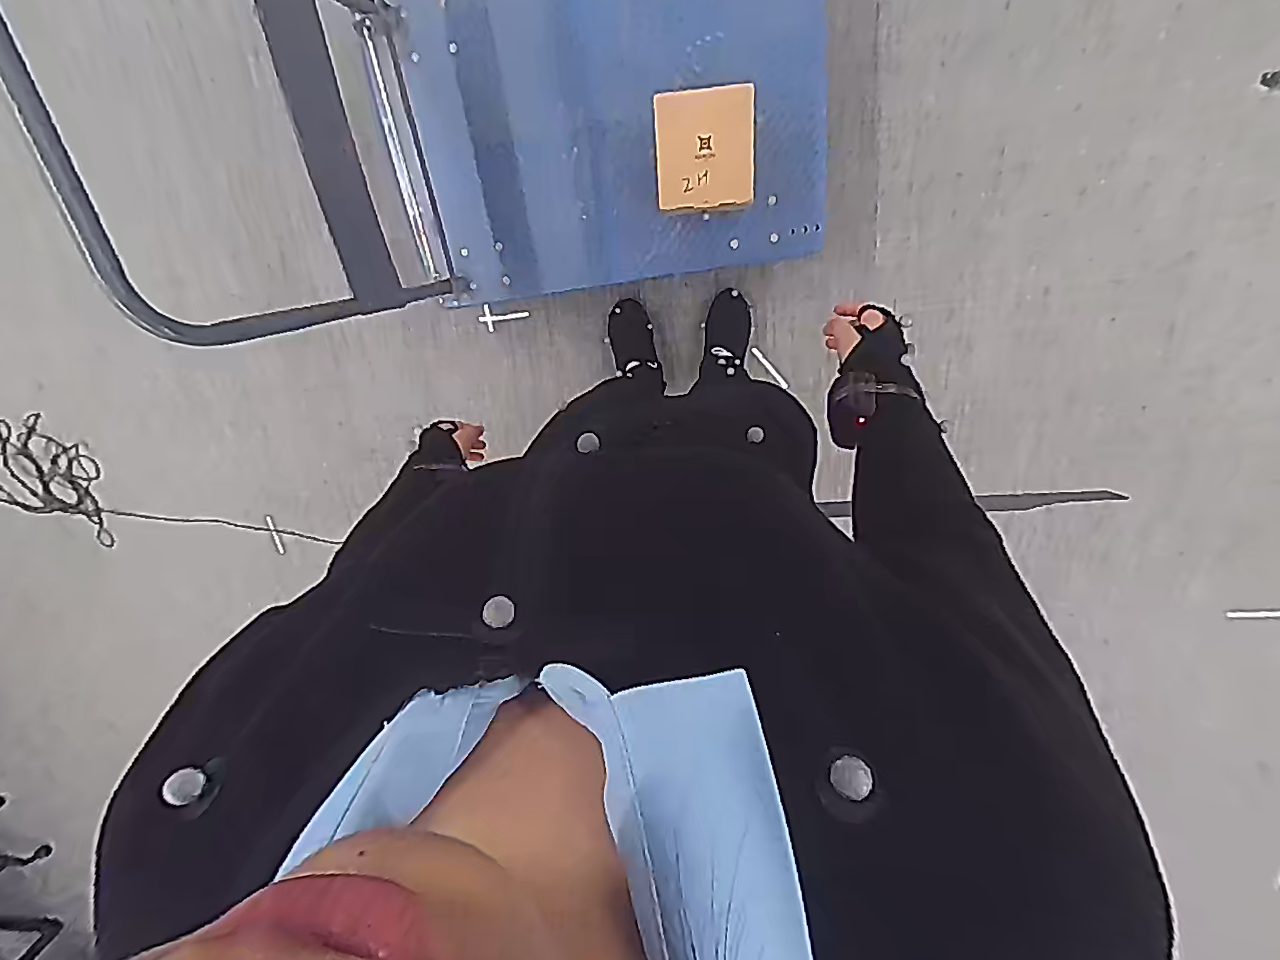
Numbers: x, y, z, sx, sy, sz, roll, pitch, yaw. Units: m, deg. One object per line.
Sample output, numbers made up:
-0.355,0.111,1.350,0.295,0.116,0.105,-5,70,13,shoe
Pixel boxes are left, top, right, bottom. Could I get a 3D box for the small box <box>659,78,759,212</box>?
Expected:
0.123,-0.595,0.981,0.168,0.176,0.179,-1,113,8,small box
